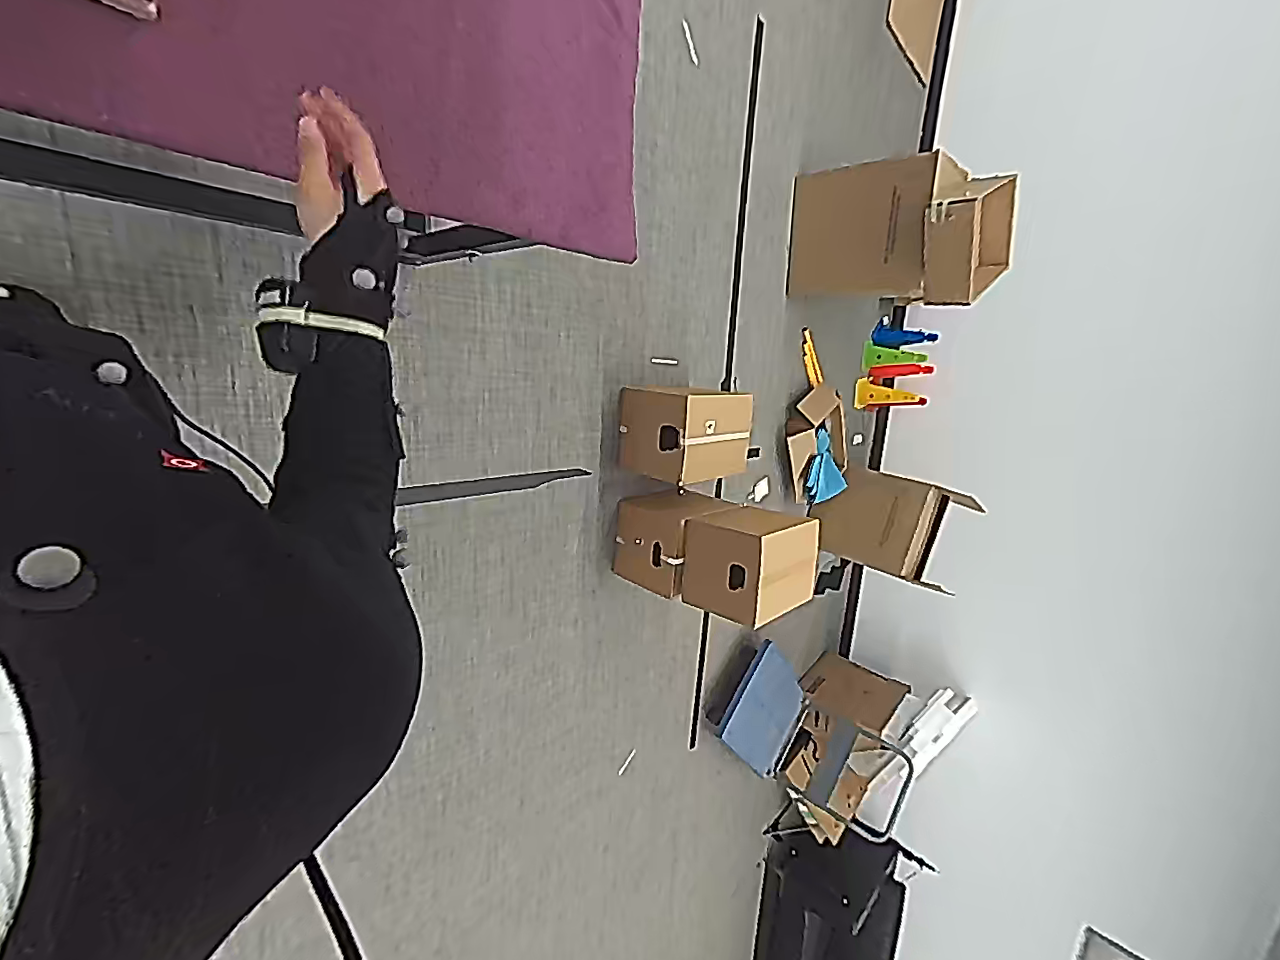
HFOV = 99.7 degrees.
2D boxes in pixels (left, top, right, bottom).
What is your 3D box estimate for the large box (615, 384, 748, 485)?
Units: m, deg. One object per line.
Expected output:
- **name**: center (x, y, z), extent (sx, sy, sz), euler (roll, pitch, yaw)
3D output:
- **large box**: center (0.157, -0.191, 2.037), extent (0.408, 0.320, 0.320), euler (-10, 109, -45)
